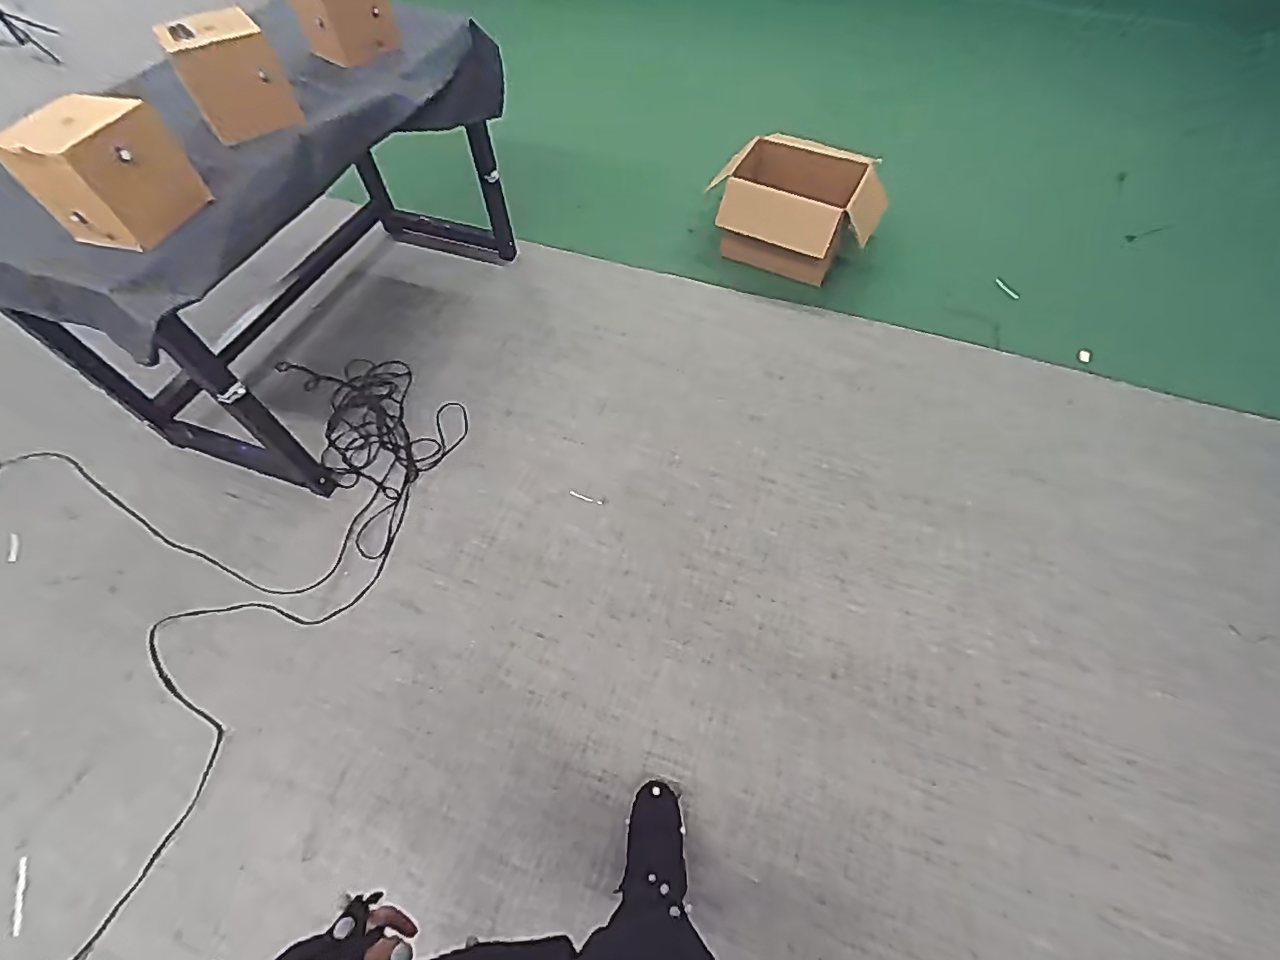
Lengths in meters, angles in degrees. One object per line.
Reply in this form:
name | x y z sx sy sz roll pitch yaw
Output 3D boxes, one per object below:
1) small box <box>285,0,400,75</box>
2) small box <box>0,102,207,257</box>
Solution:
small box | -0.732 -1.133 1.333 0.179 0.176 0.168 33 63 21
small box | -0.916 -0.522 0.943 0.168 0.176 0.179 12 59 11
